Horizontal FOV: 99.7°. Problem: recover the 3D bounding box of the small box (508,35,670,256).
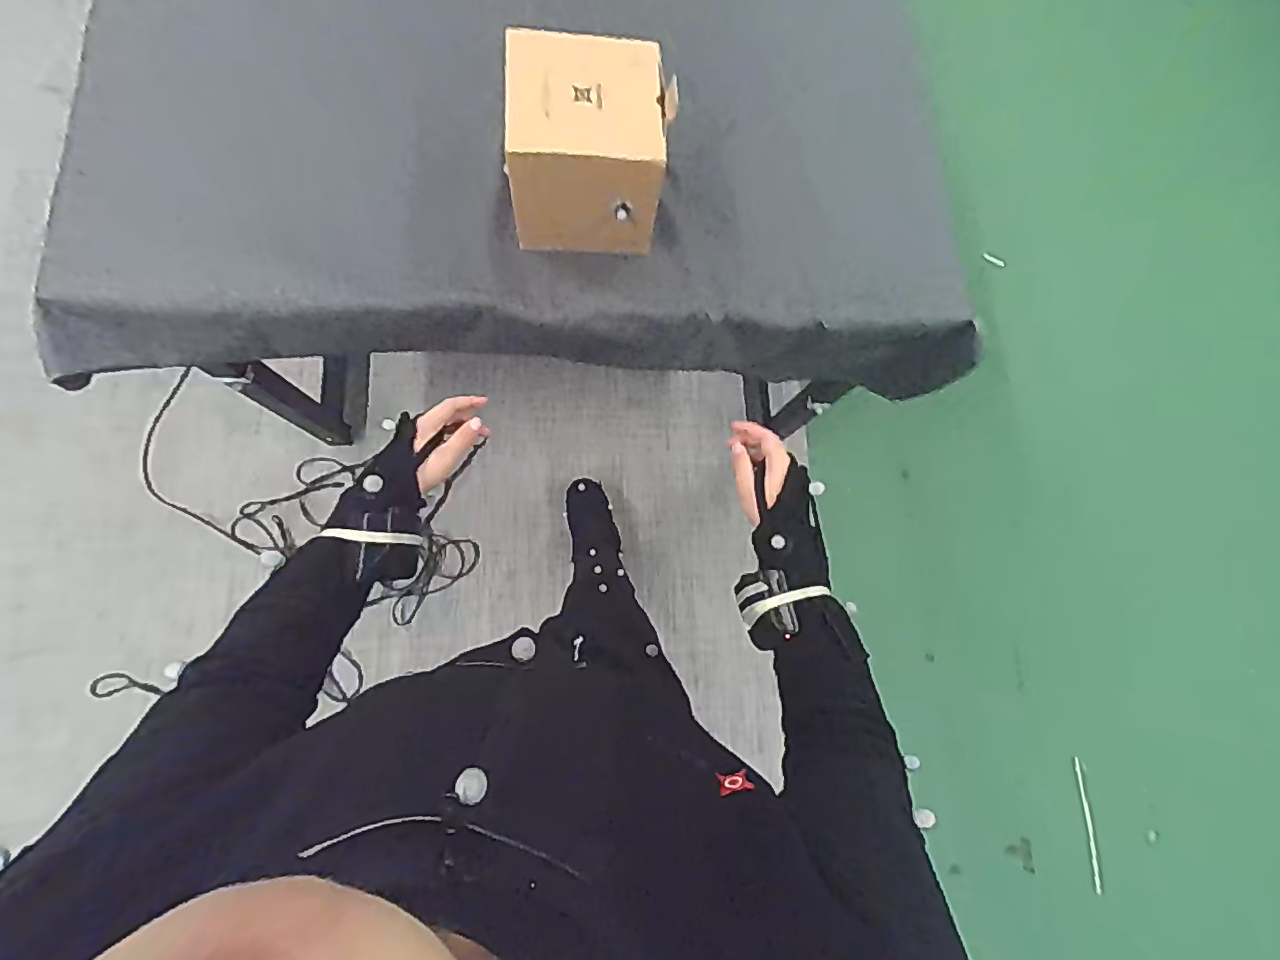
[{"bbox_3d":[-0.065,-0.402,0.676,0.179,0.176,0.168,-1,77,-6],"label":"small box"}]
